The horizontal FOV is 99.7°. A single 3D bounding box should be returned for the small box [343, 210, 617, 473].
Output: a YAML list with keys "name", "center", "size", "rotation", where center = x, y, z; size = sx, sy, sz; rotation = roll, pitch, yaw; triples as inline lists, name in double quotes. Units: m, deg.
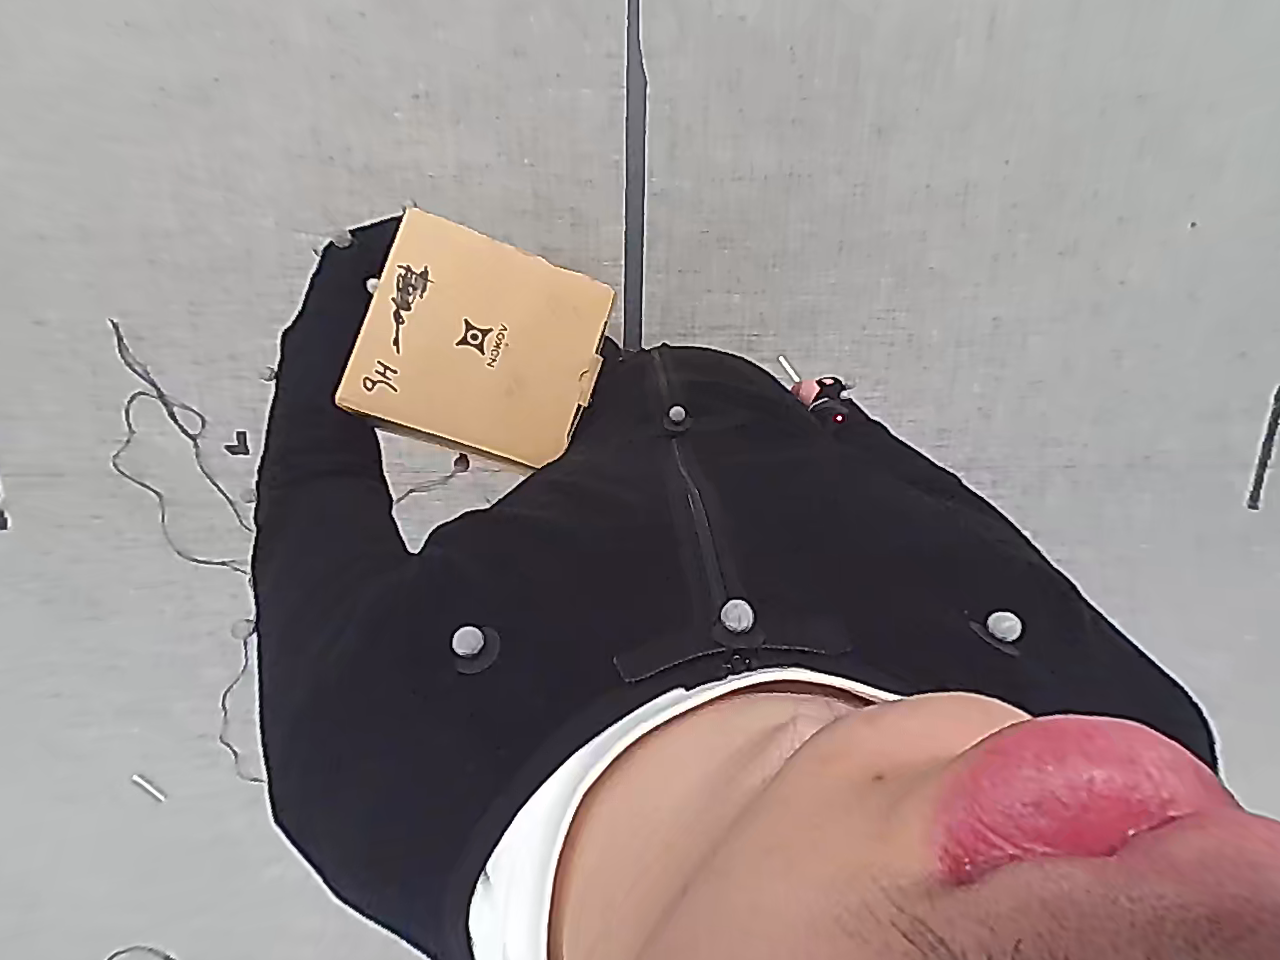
- name: "small box"
  center: [-0.141, -0.108, 0.512]
  size: [0.179, 0.176, 0.168]
  rotation: [18, 83, -13]
